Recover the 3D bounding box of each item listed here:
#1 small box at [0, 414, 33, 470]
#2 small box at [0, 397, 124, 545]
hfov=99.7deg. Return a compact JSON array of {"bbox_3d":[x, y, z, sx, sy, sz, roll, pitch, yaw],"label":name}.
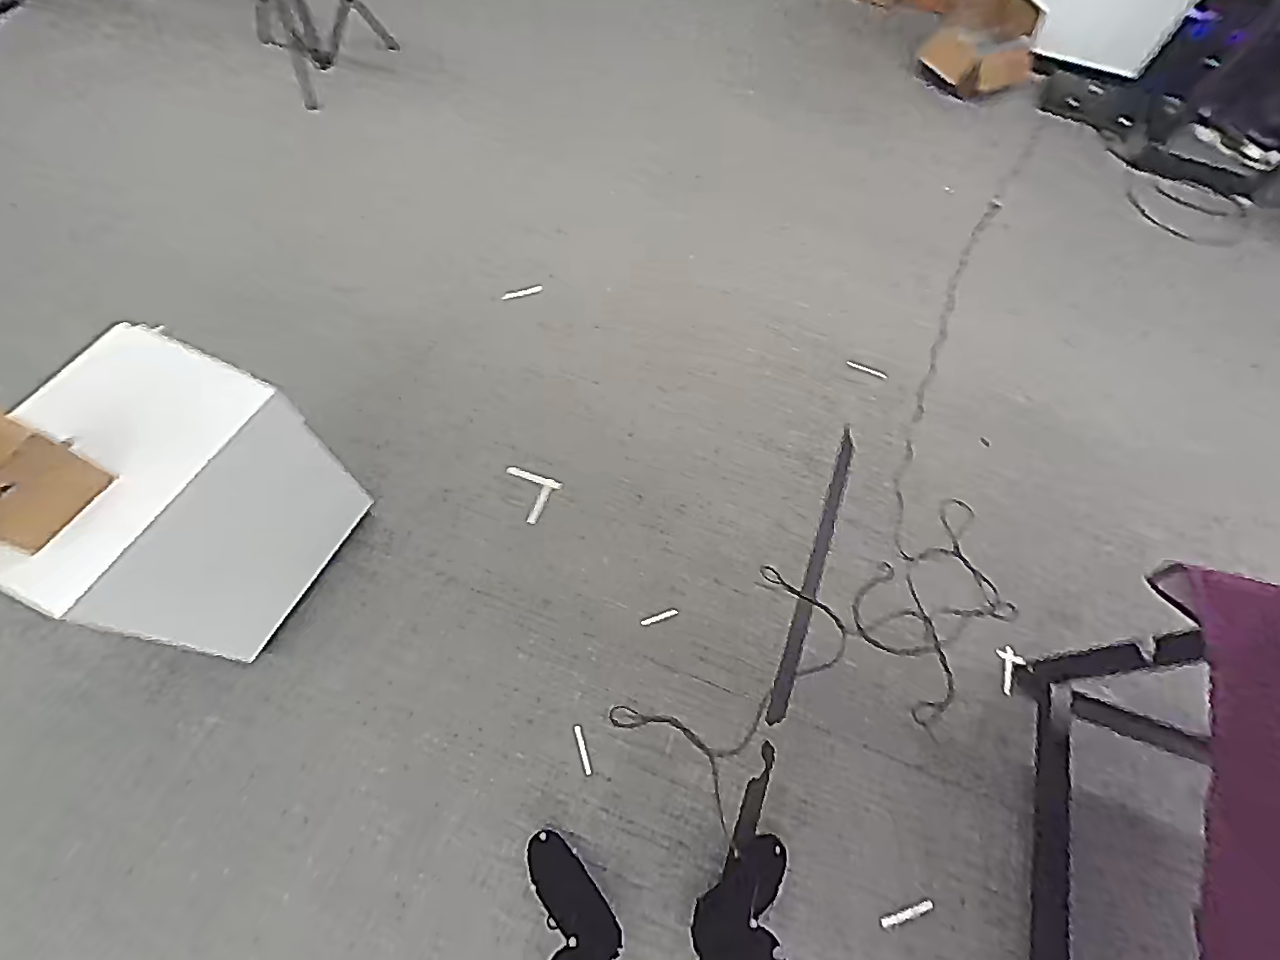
[{"bbox_3d":[-1.053,-0.073,0.763,0.179,0.176,0.168,27,64,9],"label":"small box"},{"bbox_3d":[-1.058,-0.015,0.915,0.168,0.176,0.179,25,63,8],"label":"small box"}]
